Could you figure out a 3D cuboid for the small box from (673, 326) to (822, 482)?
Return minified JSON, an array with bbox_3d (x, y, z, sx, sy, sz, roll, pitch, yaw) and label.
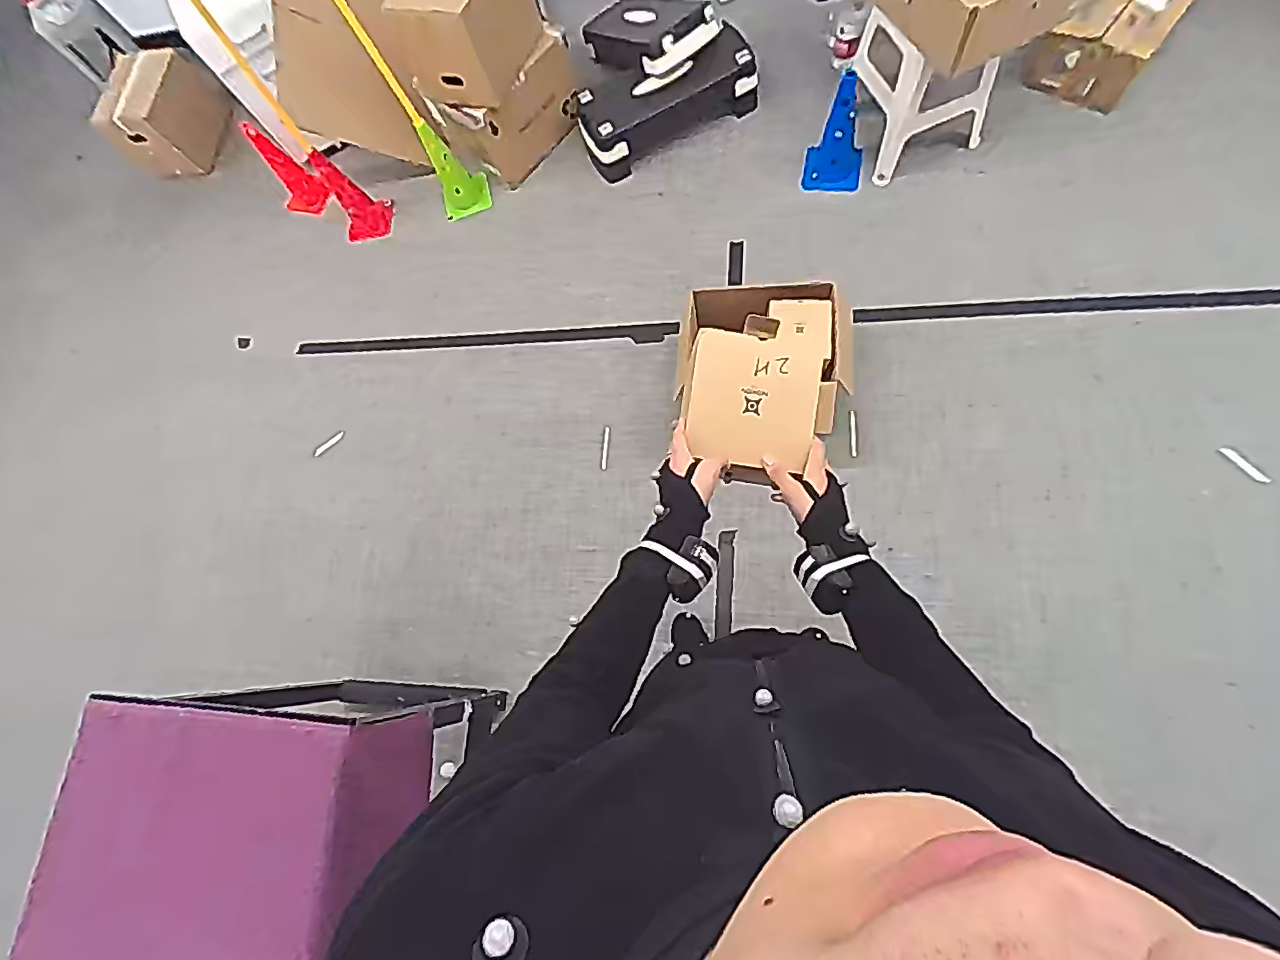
[{"bbox_3d":[0.144,-0.097,0.779,0.168,0.176,0.179,9,84,-1],"label":"small box"}]
